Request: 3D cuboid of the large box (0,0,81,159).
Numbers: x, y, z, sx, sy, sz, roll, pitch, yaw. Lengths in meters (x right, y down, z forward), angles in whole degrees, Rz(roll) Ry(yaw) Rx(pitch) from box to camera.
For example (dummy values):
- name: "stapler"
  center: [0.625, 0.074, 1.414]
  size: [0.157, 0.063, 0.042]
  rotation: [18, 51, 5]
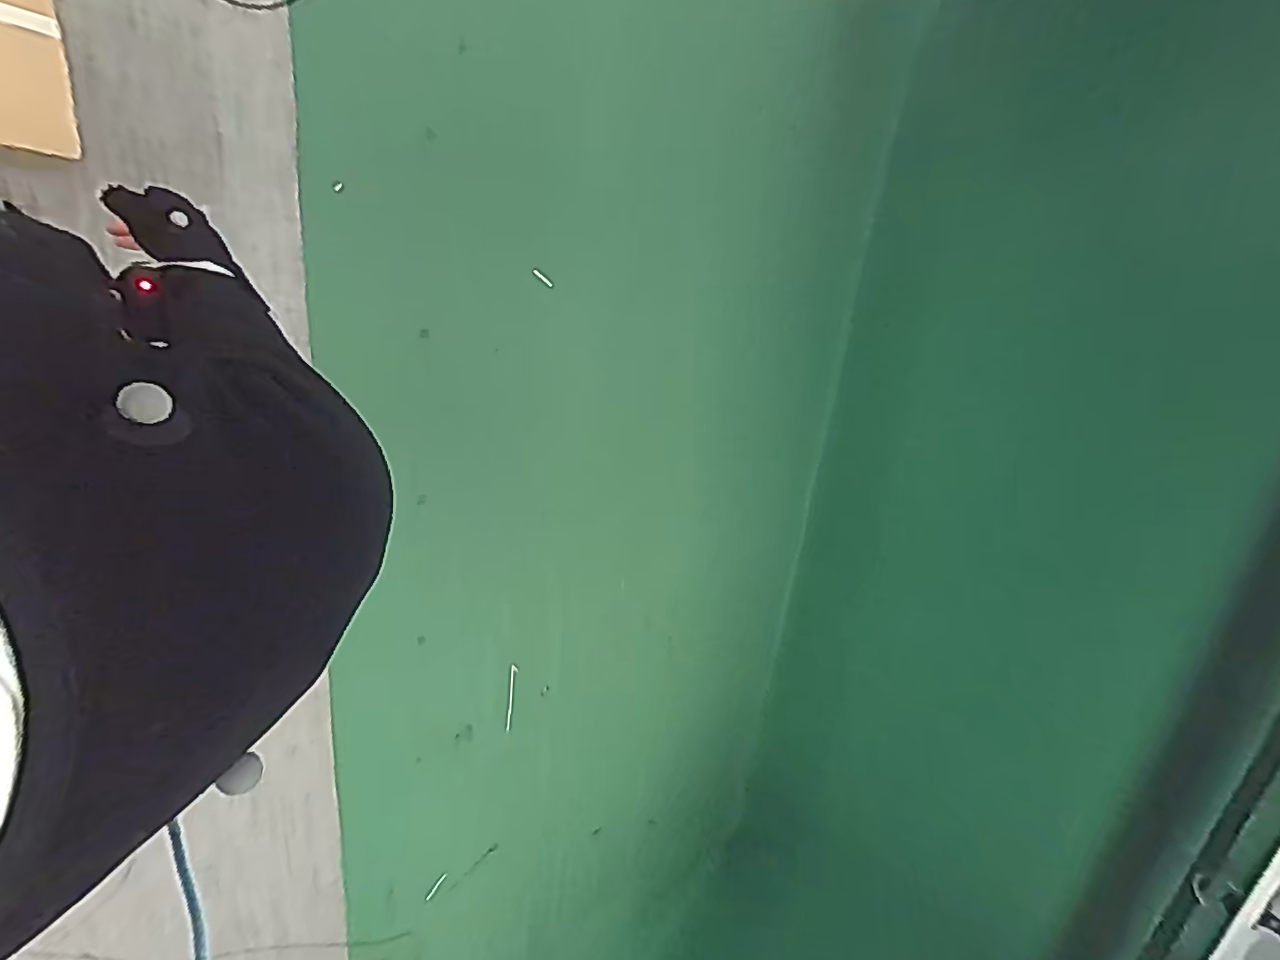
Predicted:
- name: "large box"
  center: [-1.029, -0.634, 0.679]
  size: [0.408, 0.320, 0.320]
  rotation: [-13, 118, -46]
